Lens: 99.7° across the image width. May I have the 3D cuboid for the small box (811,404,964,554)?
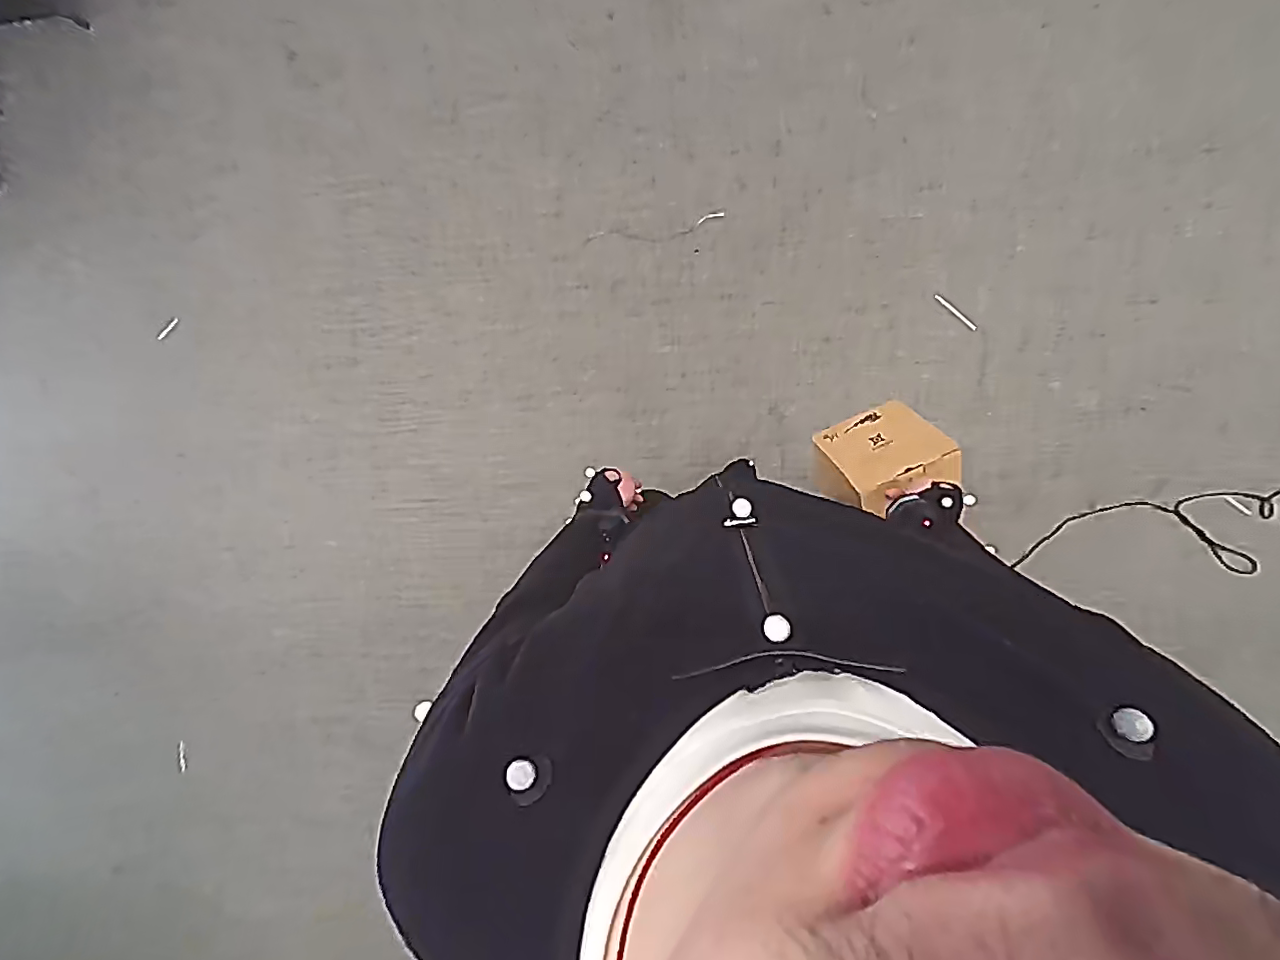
[{"bbox_3d":[0.429,0.004,0.937,0.168,0.179,0.176,-27,124,4],"label":"small box"}]
